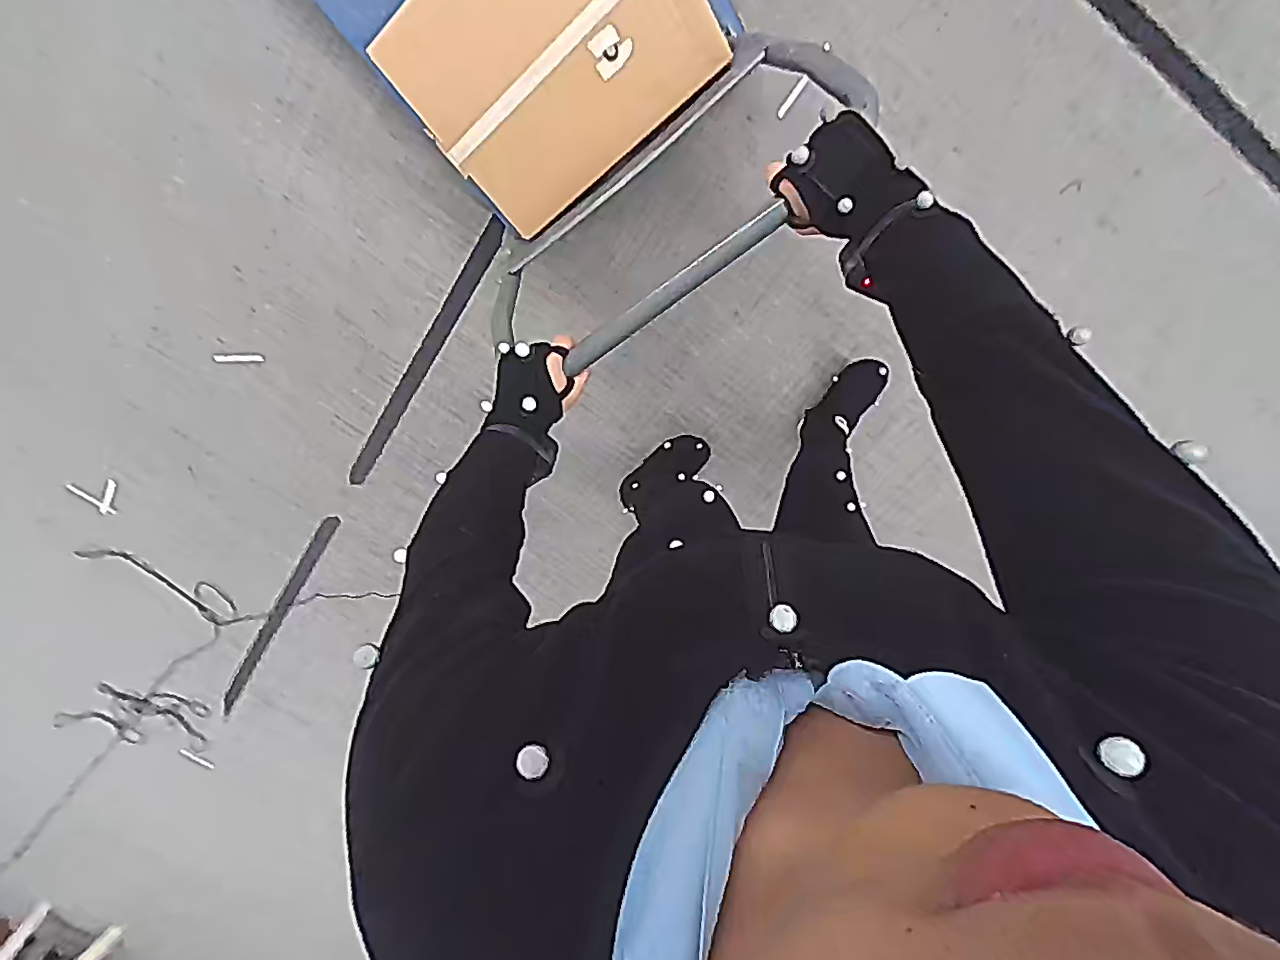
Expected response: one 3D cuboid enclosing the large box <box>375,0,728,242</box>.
[{"bbox_3d":[-0.130,-0.672,0.868,0.408,0.320,0.320,-33,123,19],"label":"large box"}]
